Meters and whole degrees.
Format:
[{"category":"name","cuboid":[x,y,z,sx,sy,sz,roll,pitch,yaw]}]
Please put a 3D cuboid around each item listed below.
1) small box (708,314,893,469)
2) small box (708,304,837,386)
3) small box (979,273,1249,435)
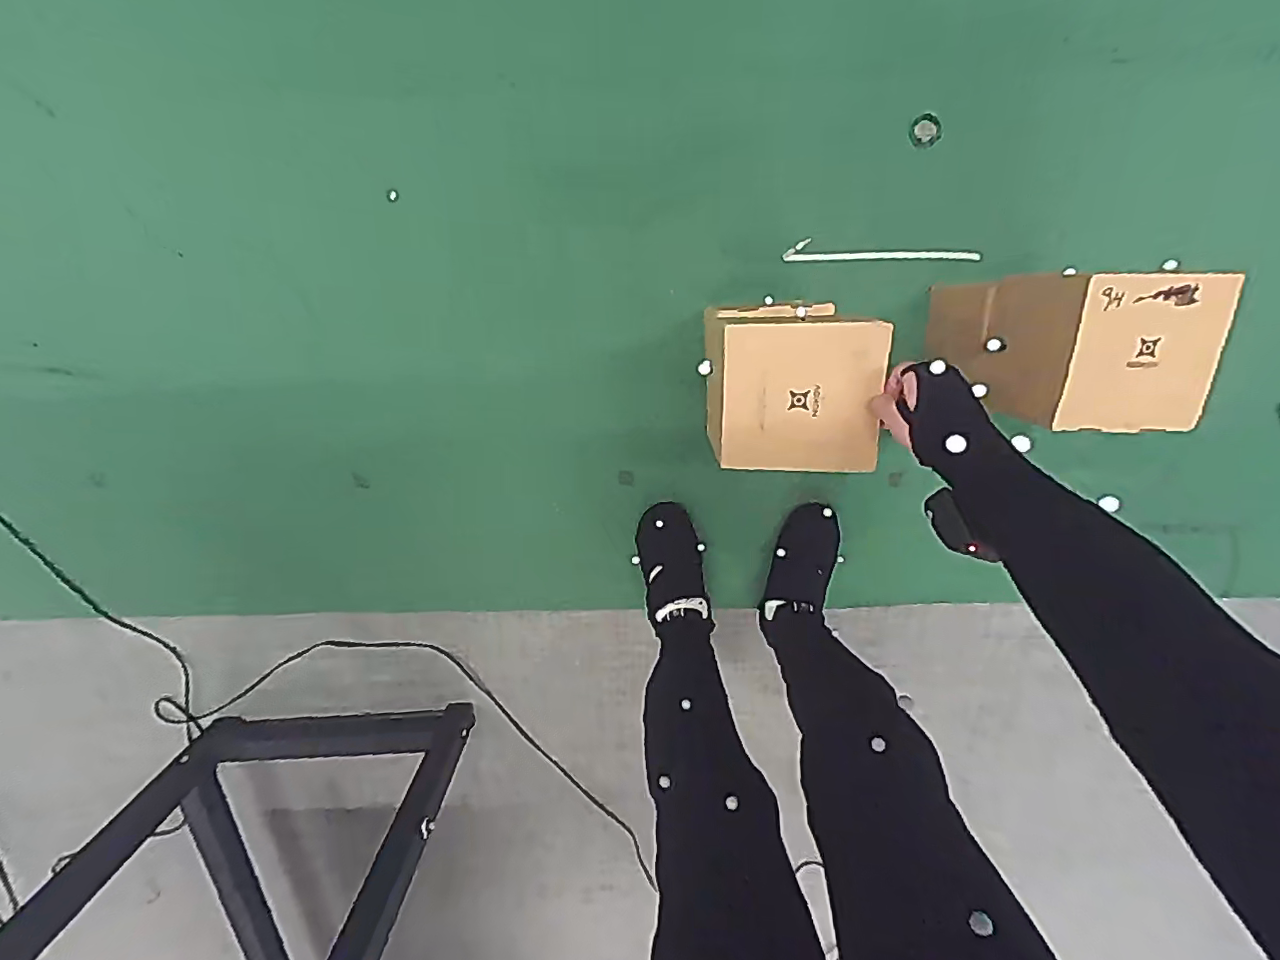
[{"category":"small box","cuboid":[0.183,-0.117,0.675,0.179,0.176,0.168,0,109,2]},{"category":"small box","cuboid":[0.198,-0.182,0.852,0.168,0.176,0.179,-3,107,2]},{"category":"small box","cuboid":[0.563,-0.164,0.677,0.168,0.176,0.179,1,110,0]}]
